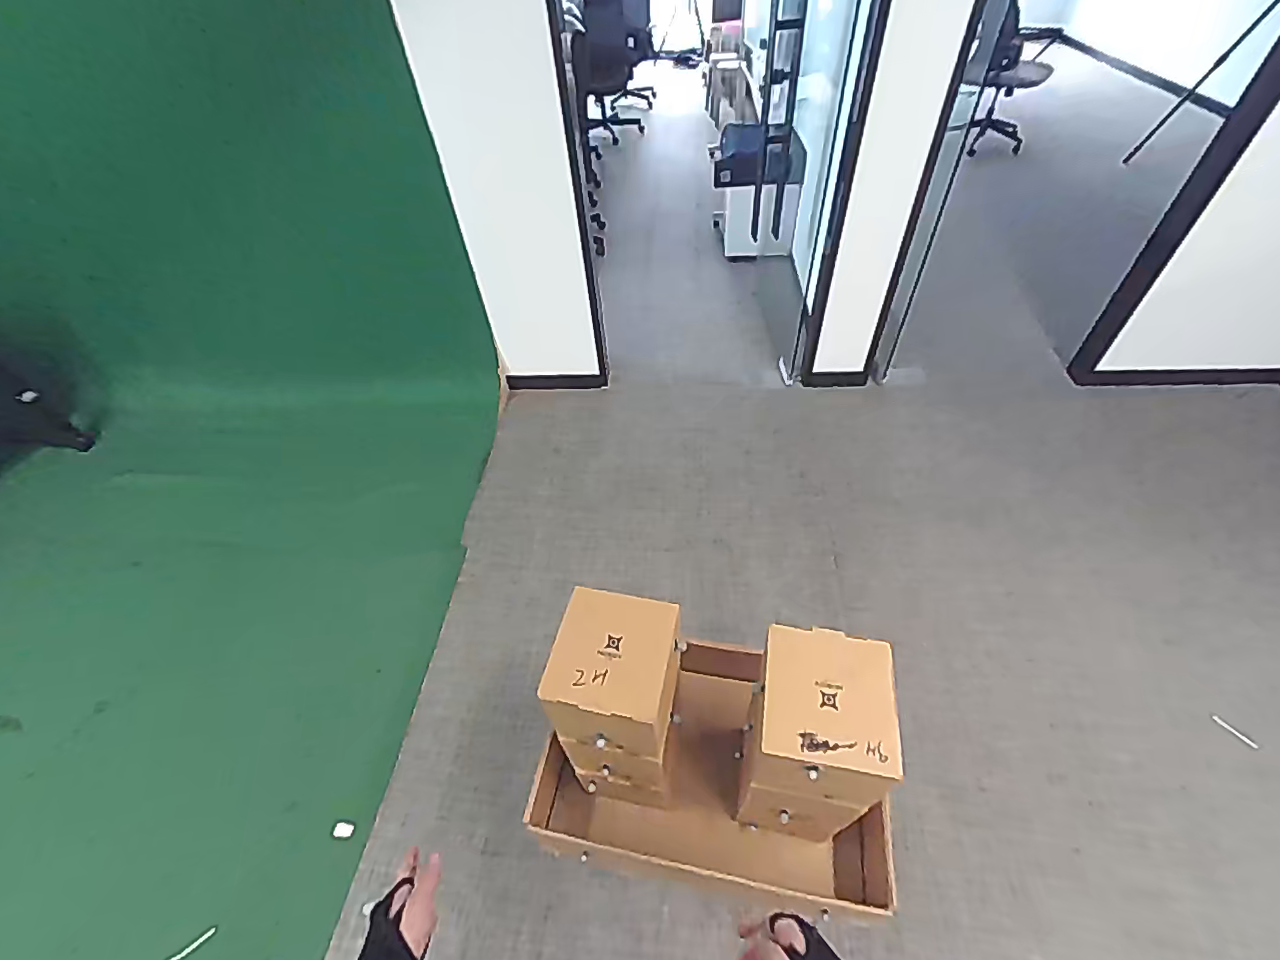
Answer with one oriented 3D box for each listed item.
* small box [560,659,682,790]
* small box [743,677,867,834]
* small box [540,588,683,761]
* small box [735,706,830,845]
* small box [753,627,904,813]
[{"bbox_3d":[-0.024,0.408,0.938,0.168,0.176,0.179,8,49,11],"label":"small box"},{"bbox_3d":[0.261,0.446,0.880,0.168,0.176,0.179,7,50,11],"label":"small box"},{"bbox_3d":[-0.033,0.295,0.819,0.168,0.176,0.179,8,49,12],"label":"small box"},{"bbox_3d":[0.271,0.551,1.004,0.168,0.176,0.179,8,49,11],"label":"small box"},{"bbox_3d":[0.253,0.336,0.759,0.168,0.176,0.179,7,49,12],"label":"small box"}]
